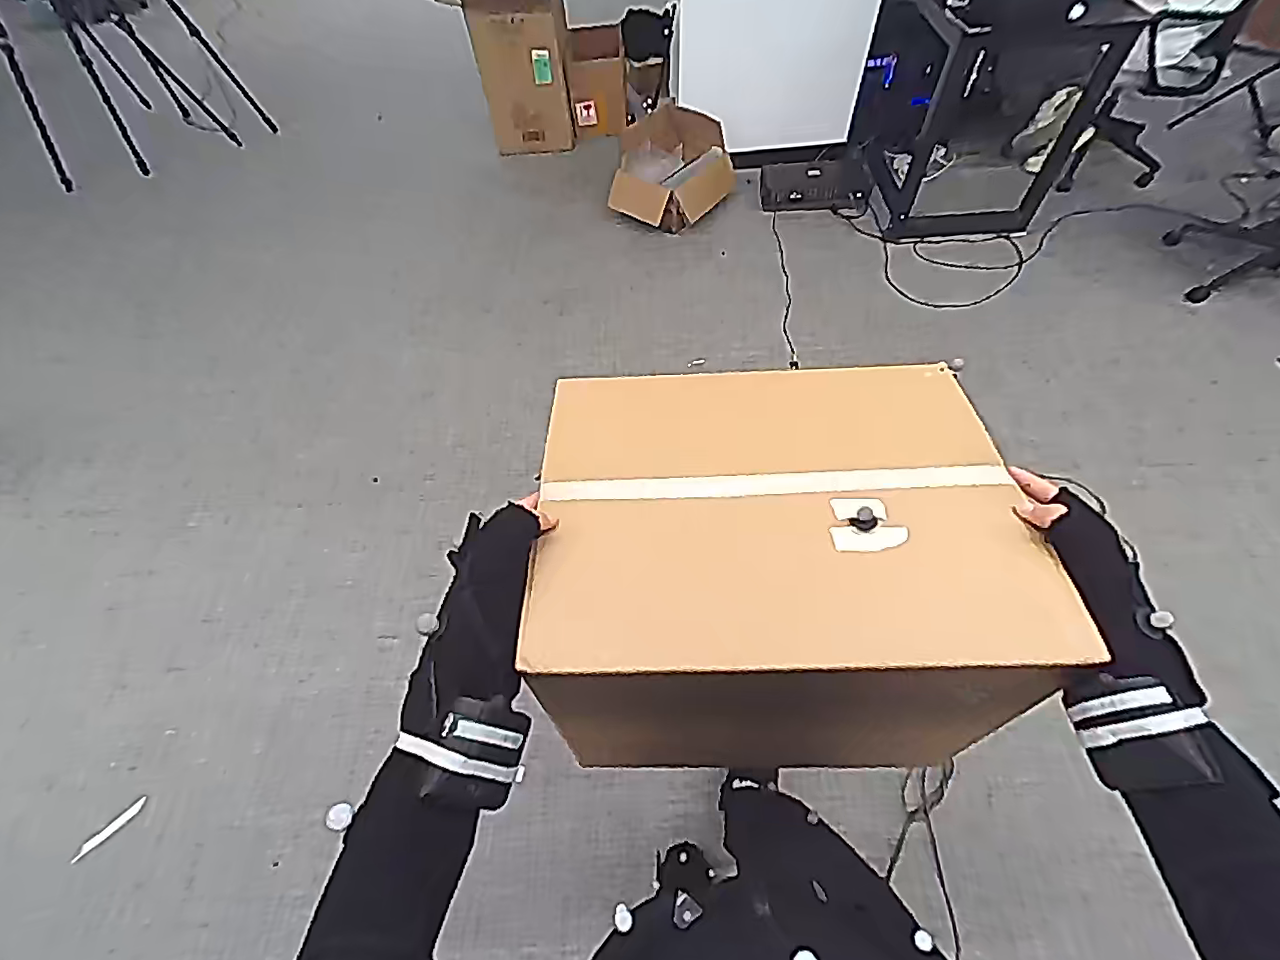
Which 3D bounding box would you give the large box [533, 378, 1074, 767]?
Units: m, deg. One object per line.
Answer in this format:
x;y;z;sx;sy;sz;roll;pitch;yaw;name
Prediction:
0.122;0.111;0.601;0.408;0.320;0.320;-2;51;2;large box
